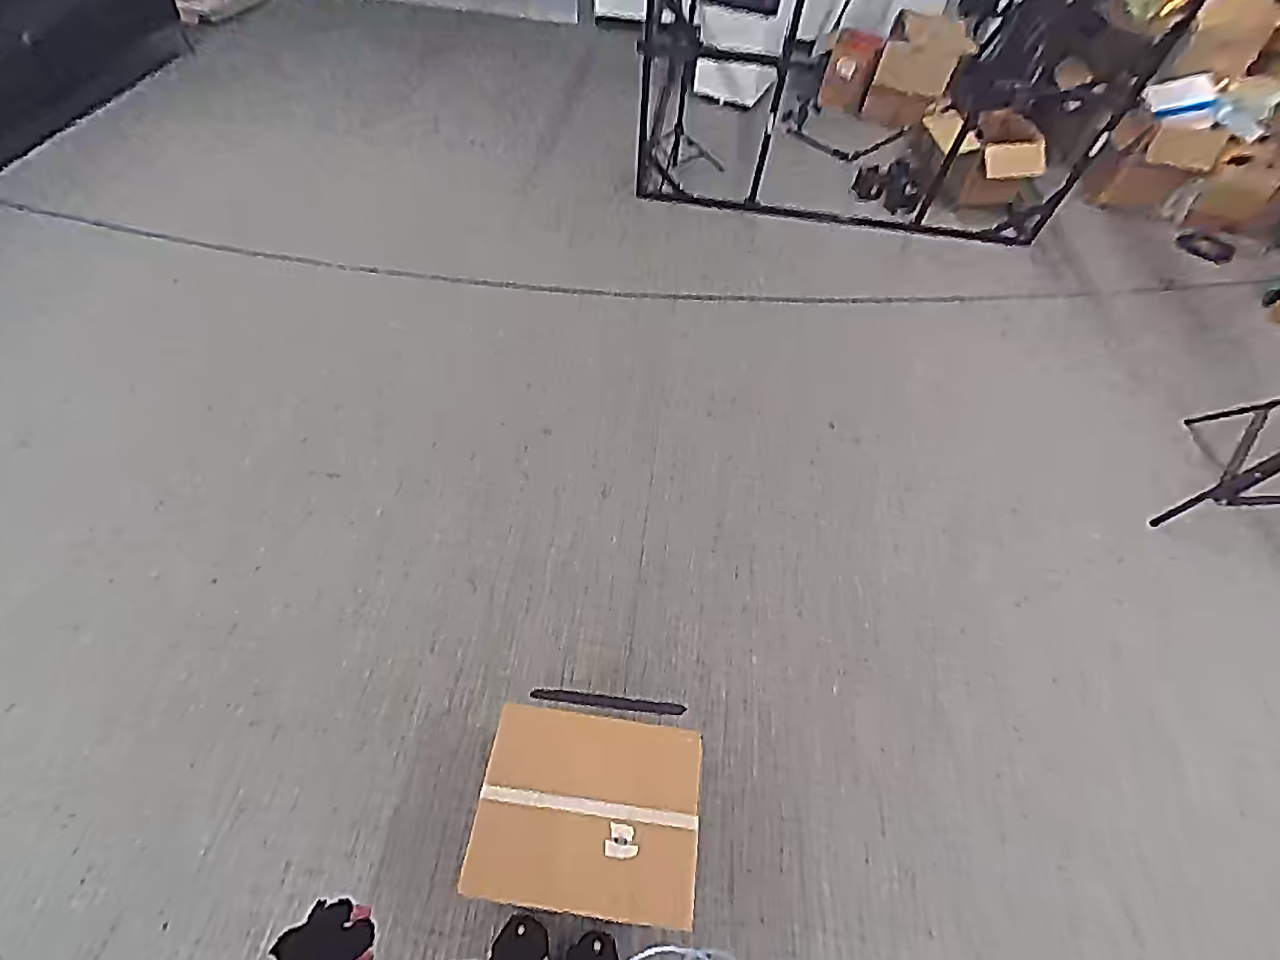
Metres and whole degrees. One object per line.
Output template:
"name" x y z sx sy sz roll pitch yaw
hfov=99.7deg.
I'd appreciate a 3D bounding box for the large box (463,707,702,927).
"large box" -0.102 0.693 1.122 0.408 0.320 0.320 9 55 1
